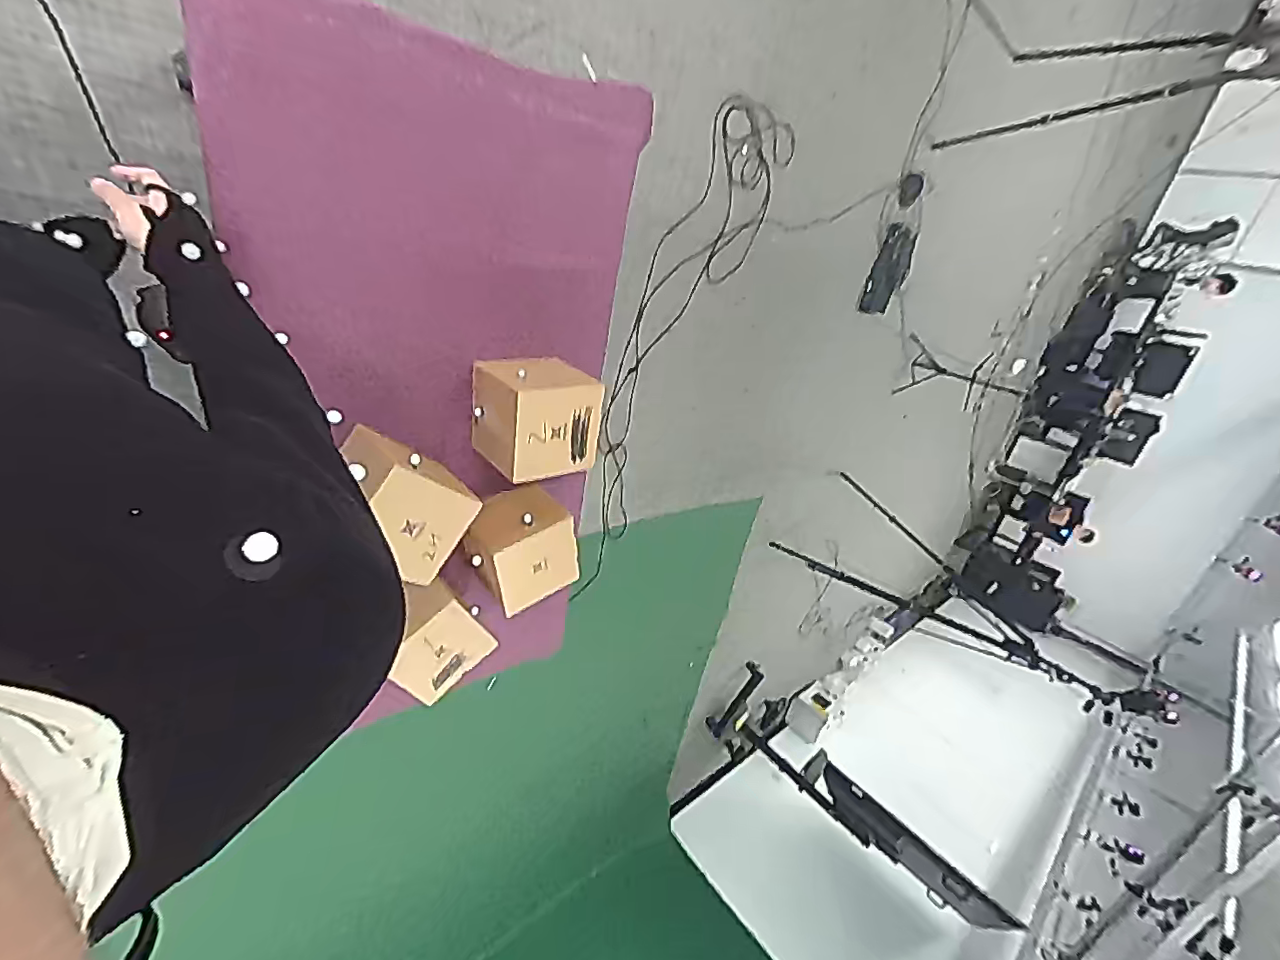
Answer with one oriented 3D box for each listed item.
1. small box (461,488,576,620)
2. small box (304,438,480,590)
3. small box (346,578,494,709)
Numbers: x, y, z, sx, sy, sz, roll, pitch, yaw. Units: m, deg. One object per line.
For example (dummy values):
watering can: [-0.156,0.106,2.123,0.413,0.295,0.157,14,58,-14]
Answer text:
small box: [-0.254,0.143,1.107,0.179,0.176,0.168,-26,131,-32]
small box: [-0.407,0.050,0.882,0.168,0.176,0.179,-56,142,-2]
small box: [-0.418,0.292,1.032,0.168,0.176,0.179,-41,137,-19]
